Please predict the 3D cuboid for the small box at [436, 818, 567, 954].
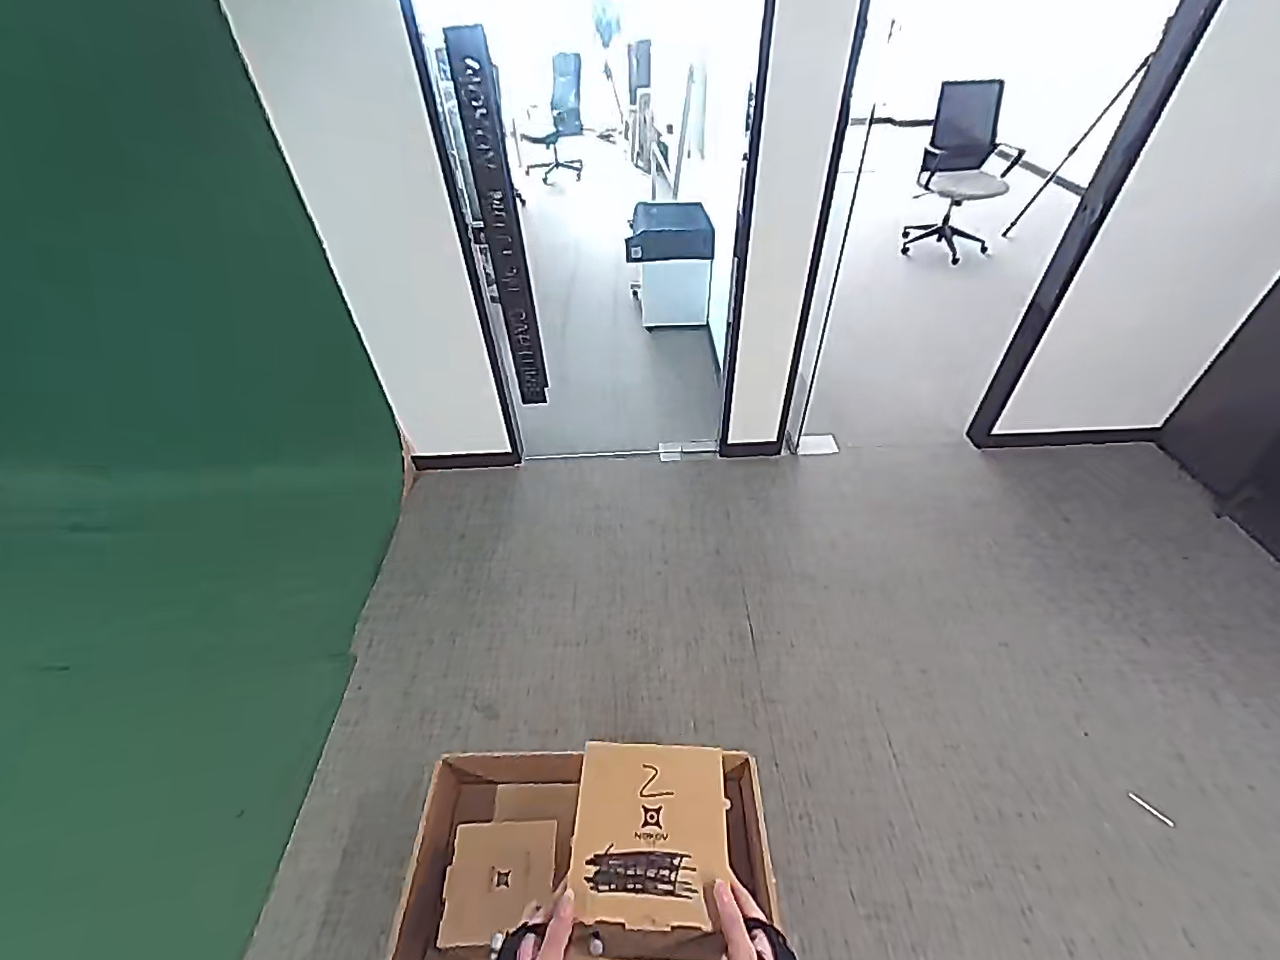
[{"bbox_3d":[-0.227,0.704,0.938,0.179,0.176,0.168,-1,44,-1],"label":"small box"}]
